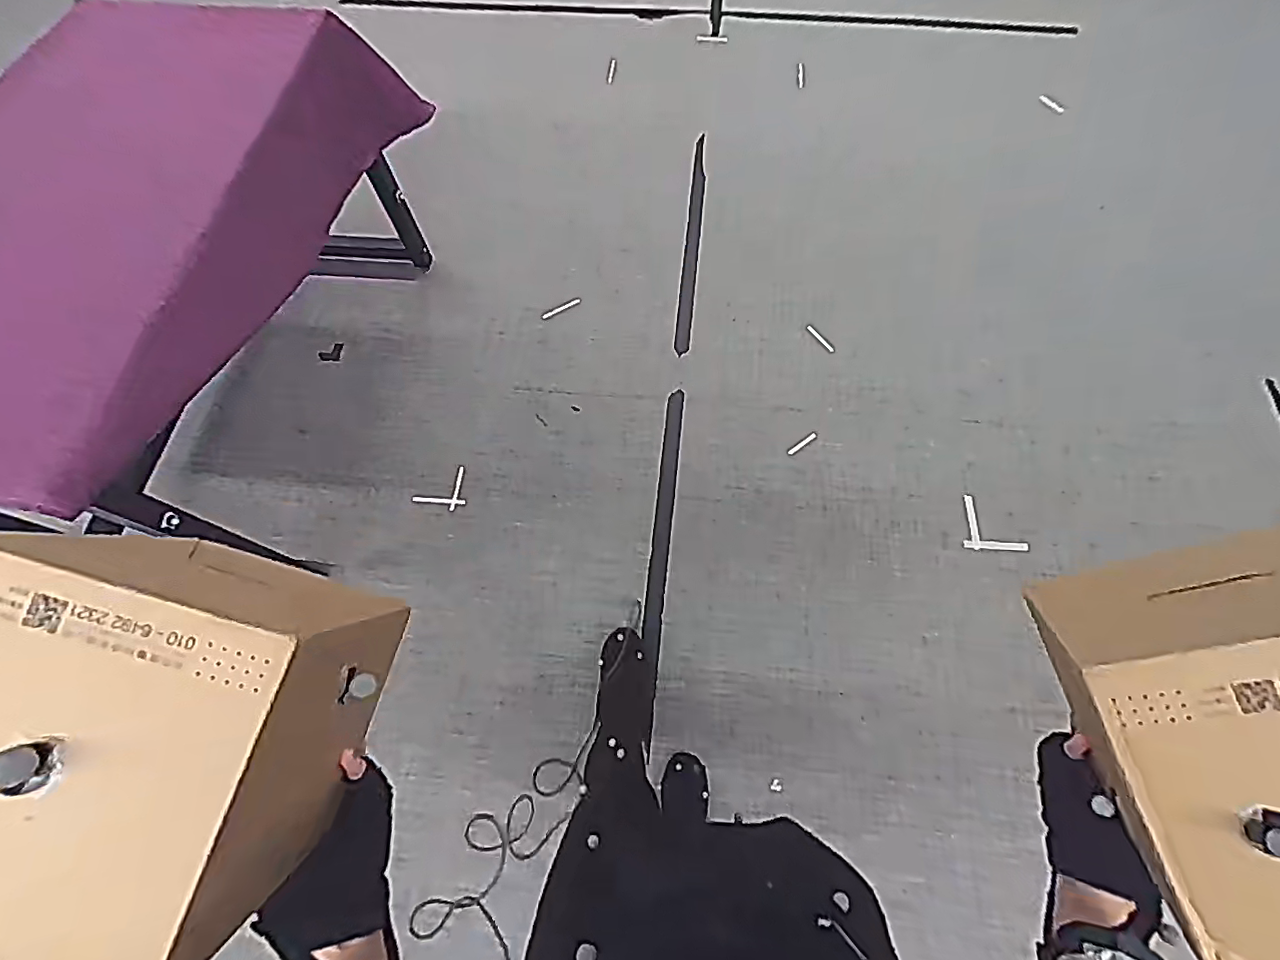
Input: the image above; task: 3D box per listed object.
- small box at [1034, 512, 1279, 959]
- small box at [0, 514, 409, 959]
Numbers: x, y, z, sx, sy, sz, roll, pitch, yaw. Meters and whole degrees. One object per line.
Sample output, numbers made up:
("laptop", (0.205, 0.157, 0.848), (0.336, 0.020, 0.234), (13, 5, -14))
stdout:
("small box", (0.355, 0.127, 0.302), (0.168, 0.179, 0.176), (-22, 85, 27))
("small box", (-0.260, 0.122, 0.303), (0.168, 0.179, 0.176), (19, 81, -2))
